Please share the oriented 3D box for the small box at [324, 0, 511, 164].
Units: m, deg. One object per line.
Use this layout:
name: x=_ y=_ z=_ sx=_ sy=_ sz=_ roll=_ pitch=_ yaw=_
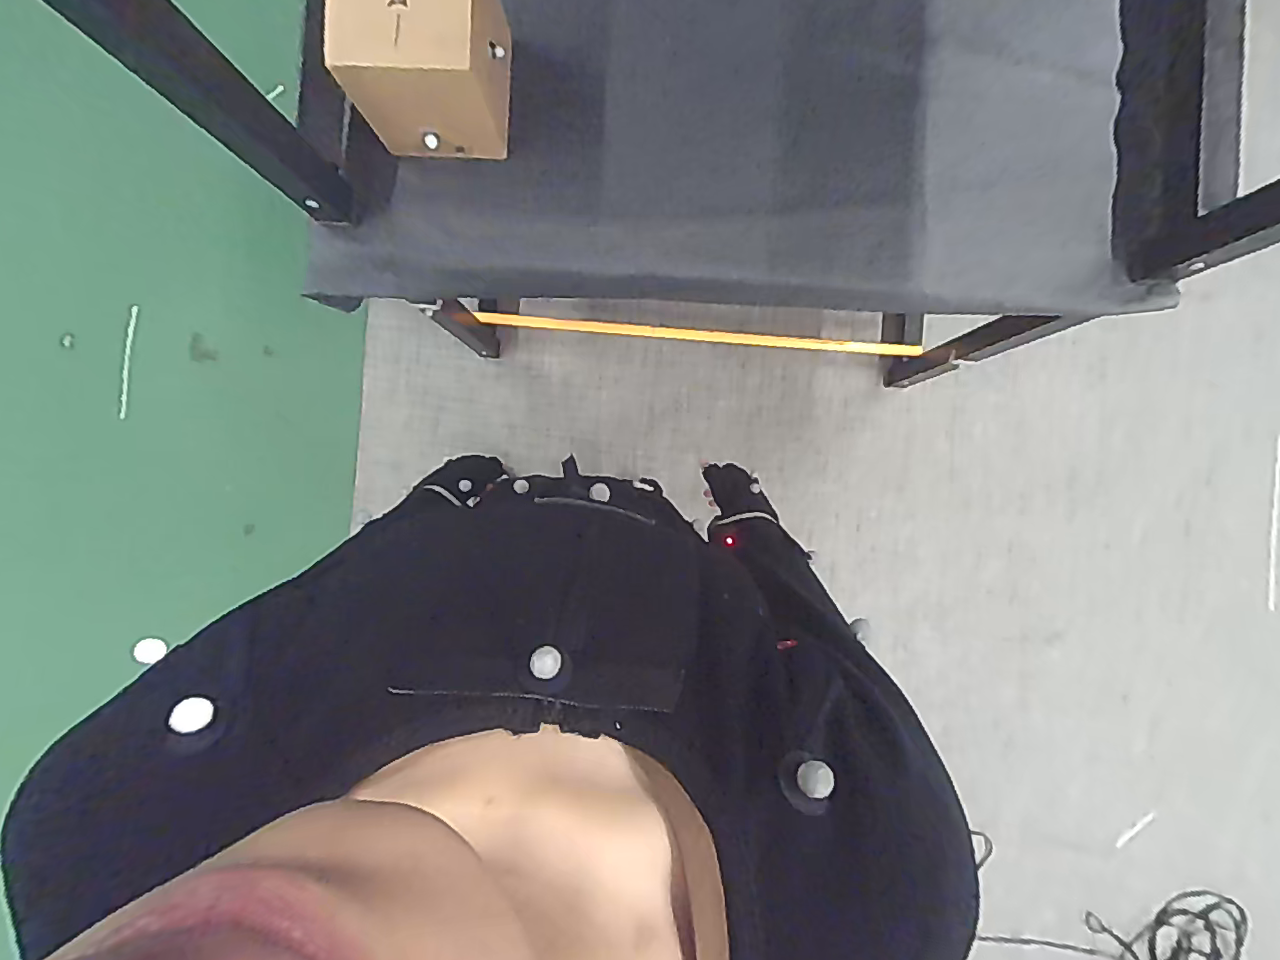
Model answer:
small box: x=-0.264 y=-0.536 z=0.679 sx=0.168 sy=0.176 sz=0.179 roll=2 pitch=89 yaw=0
